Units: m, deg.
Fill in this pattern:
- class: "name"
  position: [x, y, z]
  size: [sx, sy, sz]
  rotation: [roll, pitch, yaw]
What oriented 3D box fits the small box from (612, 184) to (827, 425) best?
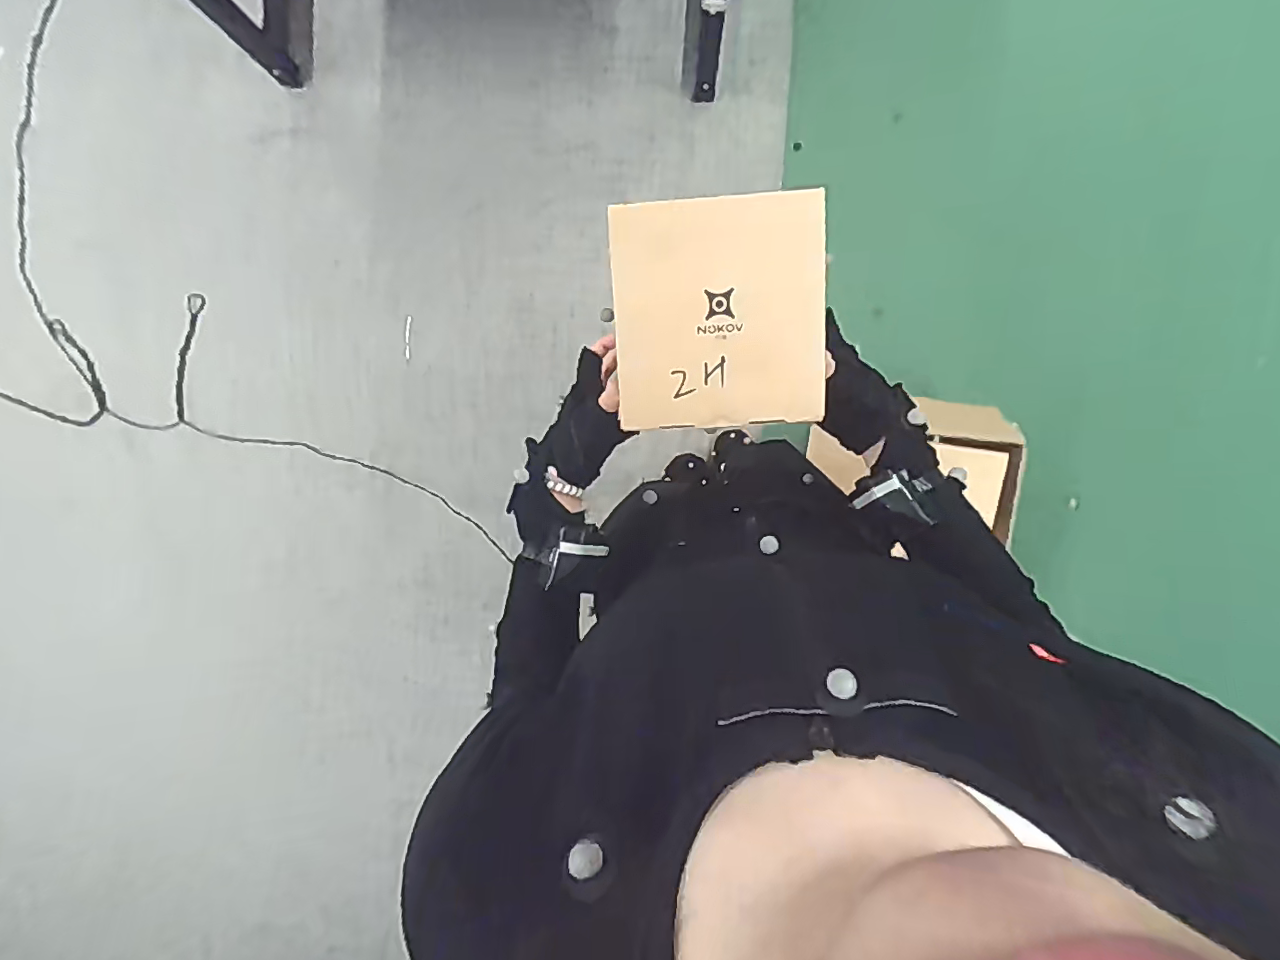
- class: "small box"
  position: [0.065, -0.147, 0.500]
  size: [0.168, 0.176, 0.179]
  rotation: [-3, 101, 3]
